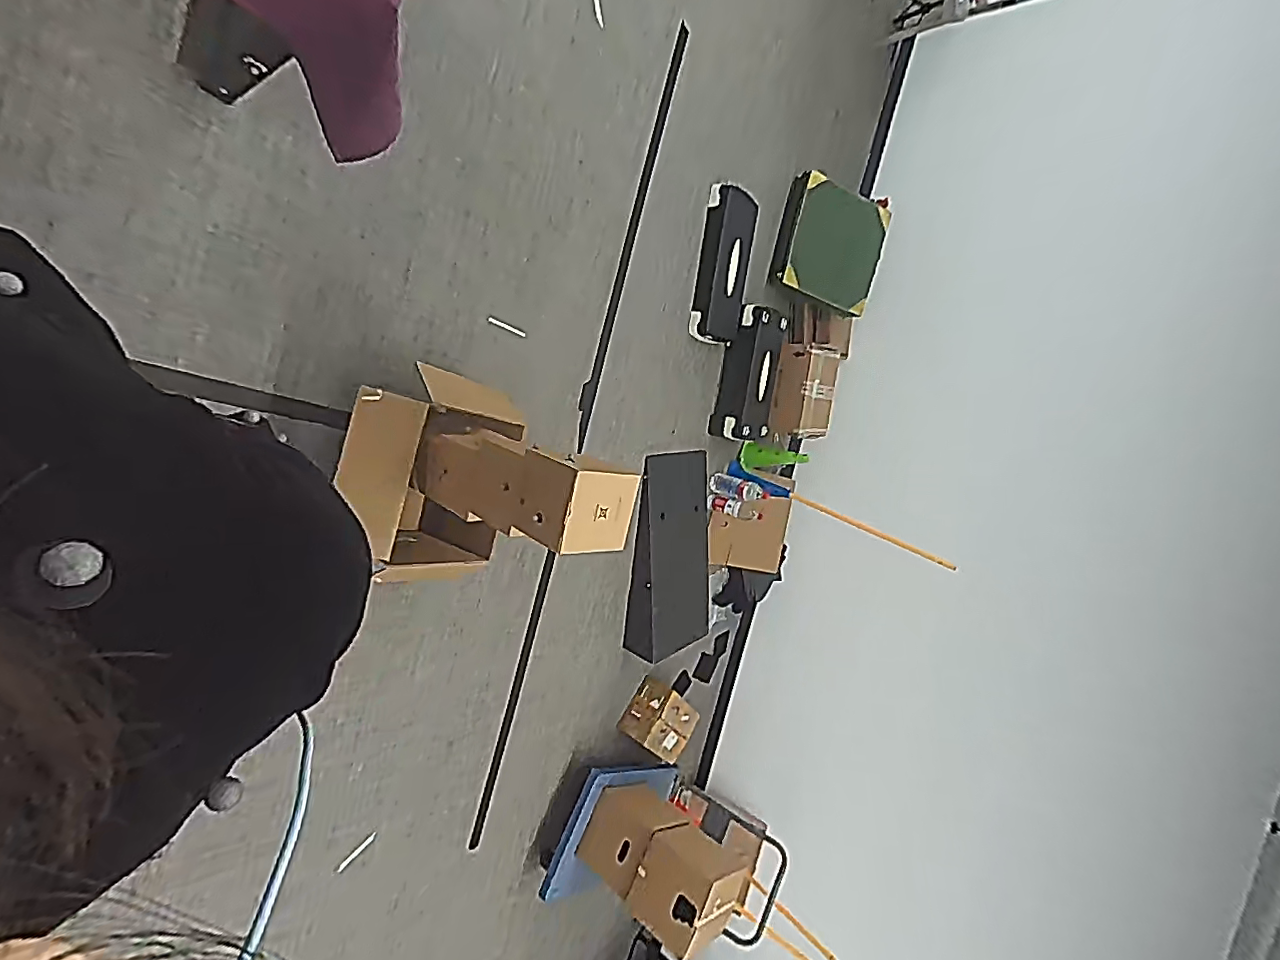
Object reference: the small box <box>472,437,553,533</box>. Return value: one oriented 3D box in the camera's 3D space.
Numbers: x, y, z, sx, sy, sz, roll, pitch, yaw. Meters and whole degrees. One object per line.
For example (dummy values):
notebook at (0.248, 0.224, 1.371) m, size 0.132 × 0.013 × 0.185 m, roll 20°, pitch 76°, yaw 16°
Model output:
small box at (-0.255, 0.008, 1.208) m, size 0.168 × 0.176 × 0.179 m, roll 3°, pitch 104°, yaw -47°

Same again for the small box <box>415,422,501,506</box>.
small box at (-0.483, -0.051, 1.440) m, size 0.168 × 0.176 × 0.179 m, roll -17°, pitch 119°, yaw -43°

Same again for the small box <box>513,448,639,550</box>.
small box at (-0.134, 0.035, 1.101) m, size 0.179 × 0.176 × 0.168 m, roll 4°, pitch 104°, yaw -48°
